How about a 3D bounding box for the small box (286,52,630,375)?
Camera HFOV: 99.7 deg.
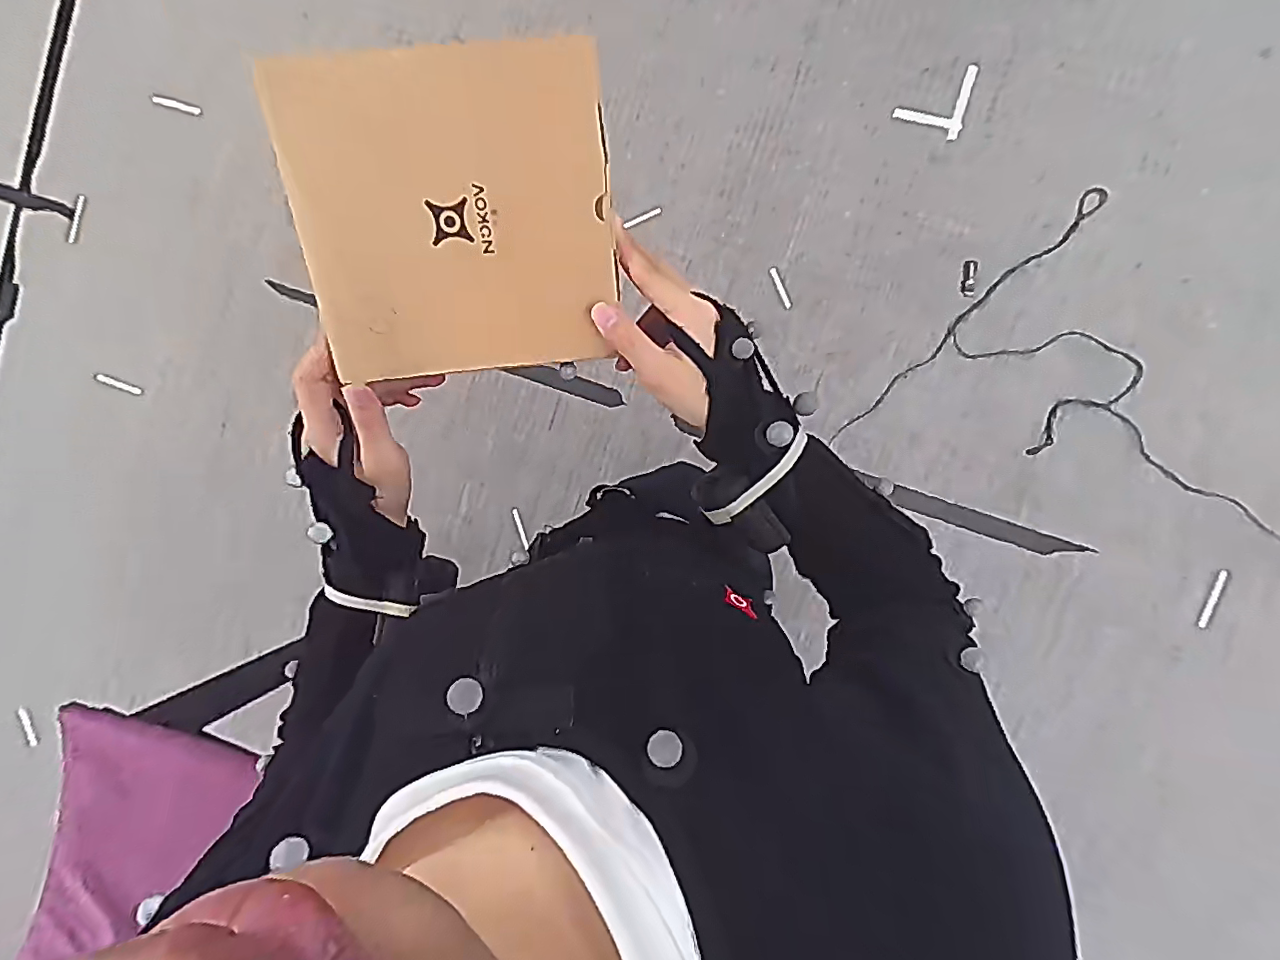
[{"bbox_3d":[-0.105,-0.173,0.392,0.179,0.176,0.168,-7,108,-4],"label":"small box"}]
